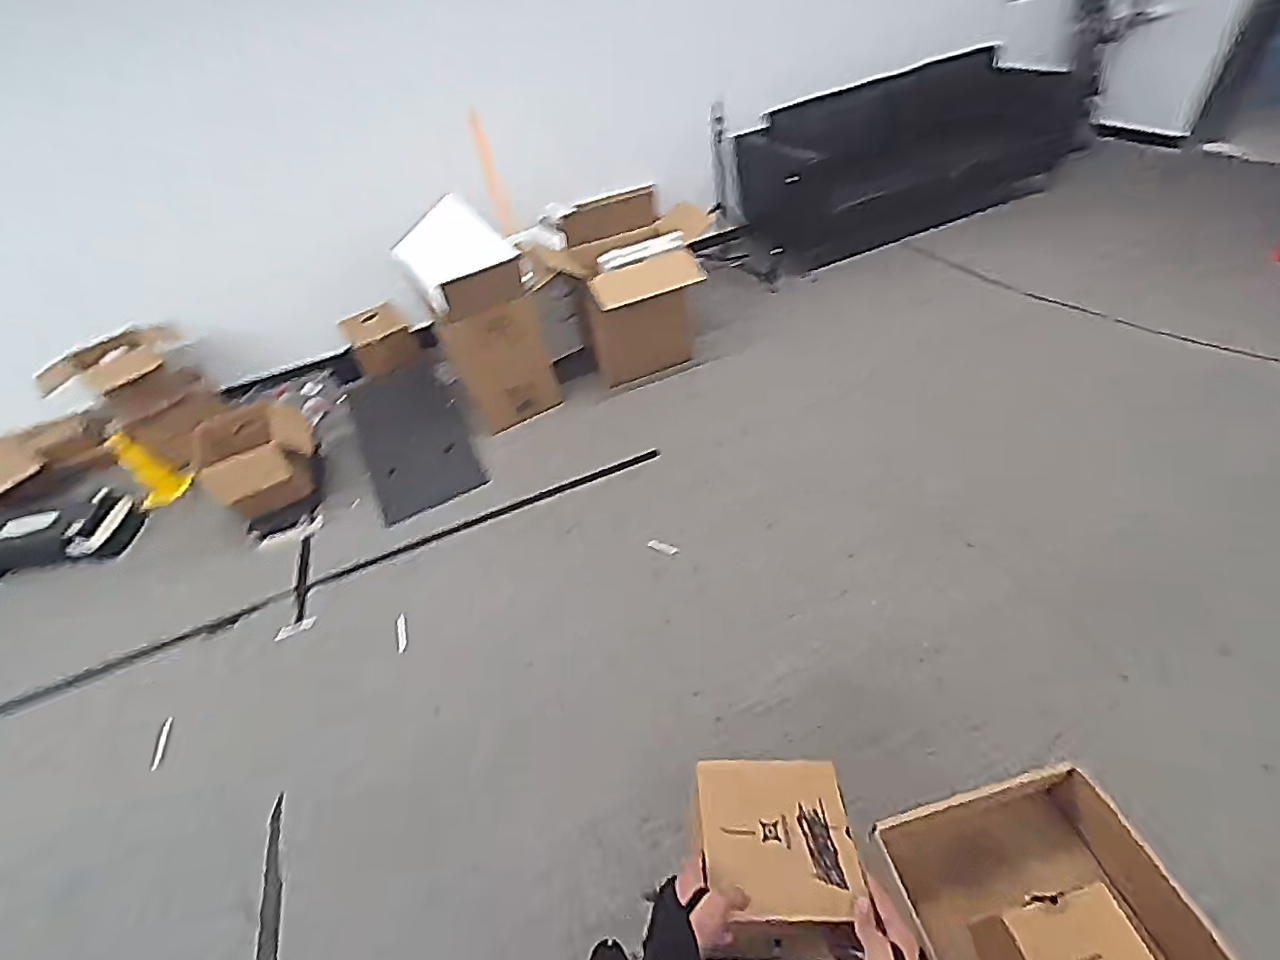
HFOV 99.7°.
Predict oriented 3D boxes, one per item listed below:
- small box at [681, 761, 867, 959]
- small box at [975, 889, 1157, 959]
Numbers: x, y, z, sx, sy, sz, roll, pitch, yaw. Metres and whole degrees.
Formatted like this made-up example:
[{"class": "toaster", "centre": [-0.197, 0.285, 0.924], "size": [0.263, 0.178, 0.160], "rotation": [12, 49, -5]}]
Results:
[{"class": "small box", "centre": [0.145, 0.465, 0.658], "size": [0.179, 0.176, 0.168], "rotation": [-1, 37, 0]}, {"class": "small box", "centre": [0.631, 0.726, 0.778], "size": [0.168, 0.176, 0.179], "rotation": [-13, 44, -3]}]
